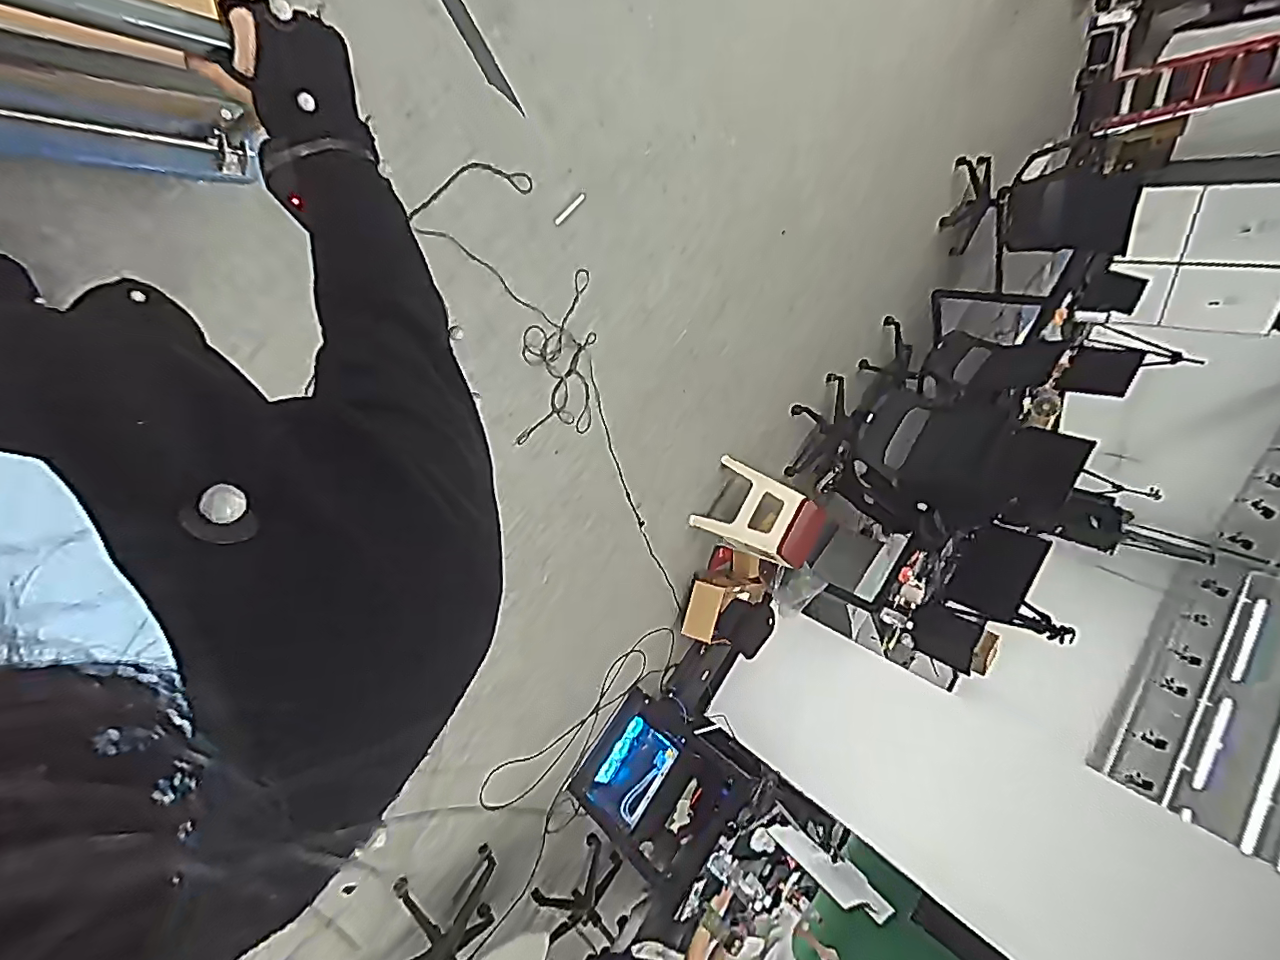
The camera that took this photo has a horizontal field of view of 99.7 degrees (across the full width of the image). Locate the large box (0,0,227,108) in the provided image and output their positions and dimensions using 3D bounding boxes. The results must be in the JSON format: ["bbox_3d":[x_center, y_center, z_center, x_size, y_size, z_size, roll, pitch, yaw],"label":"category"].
[{"bbox_3d":[-0.792,-0.685,0.634,0.408,0.320,0.320,-17,120,-43],"label":"large box"}]
